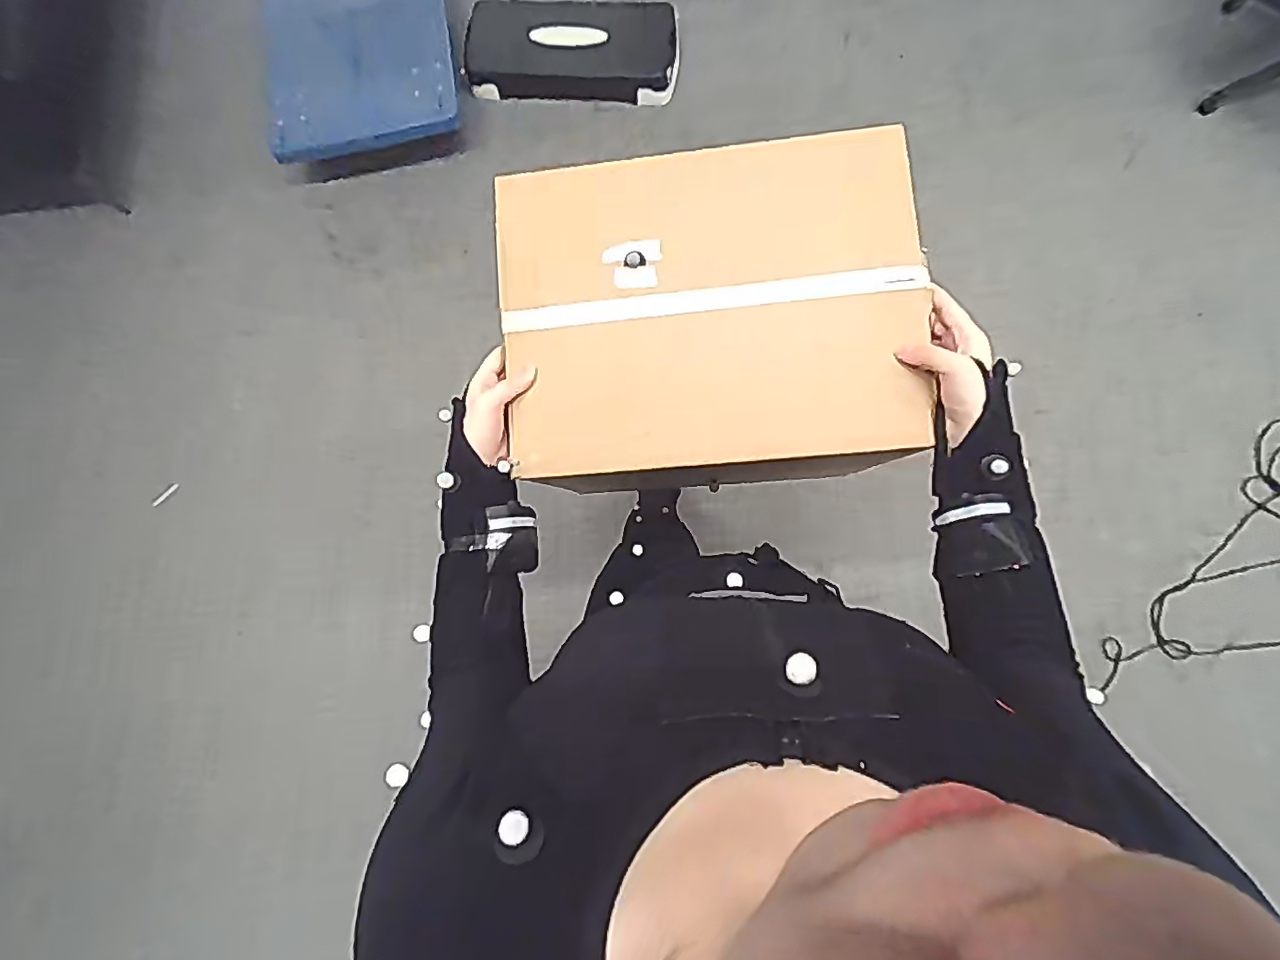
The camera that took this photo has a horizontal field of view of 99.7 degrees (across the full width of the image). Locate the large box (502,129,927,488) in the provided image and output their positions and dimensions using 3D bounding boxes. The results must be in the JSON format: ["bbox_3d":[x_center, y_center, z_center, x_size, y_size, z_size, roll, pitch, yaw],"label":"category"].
[{"bbox_3d":[0.081,-0.164,0.686,0.408,0.320,0.320,-5,84,7],"label":"large box"}]
